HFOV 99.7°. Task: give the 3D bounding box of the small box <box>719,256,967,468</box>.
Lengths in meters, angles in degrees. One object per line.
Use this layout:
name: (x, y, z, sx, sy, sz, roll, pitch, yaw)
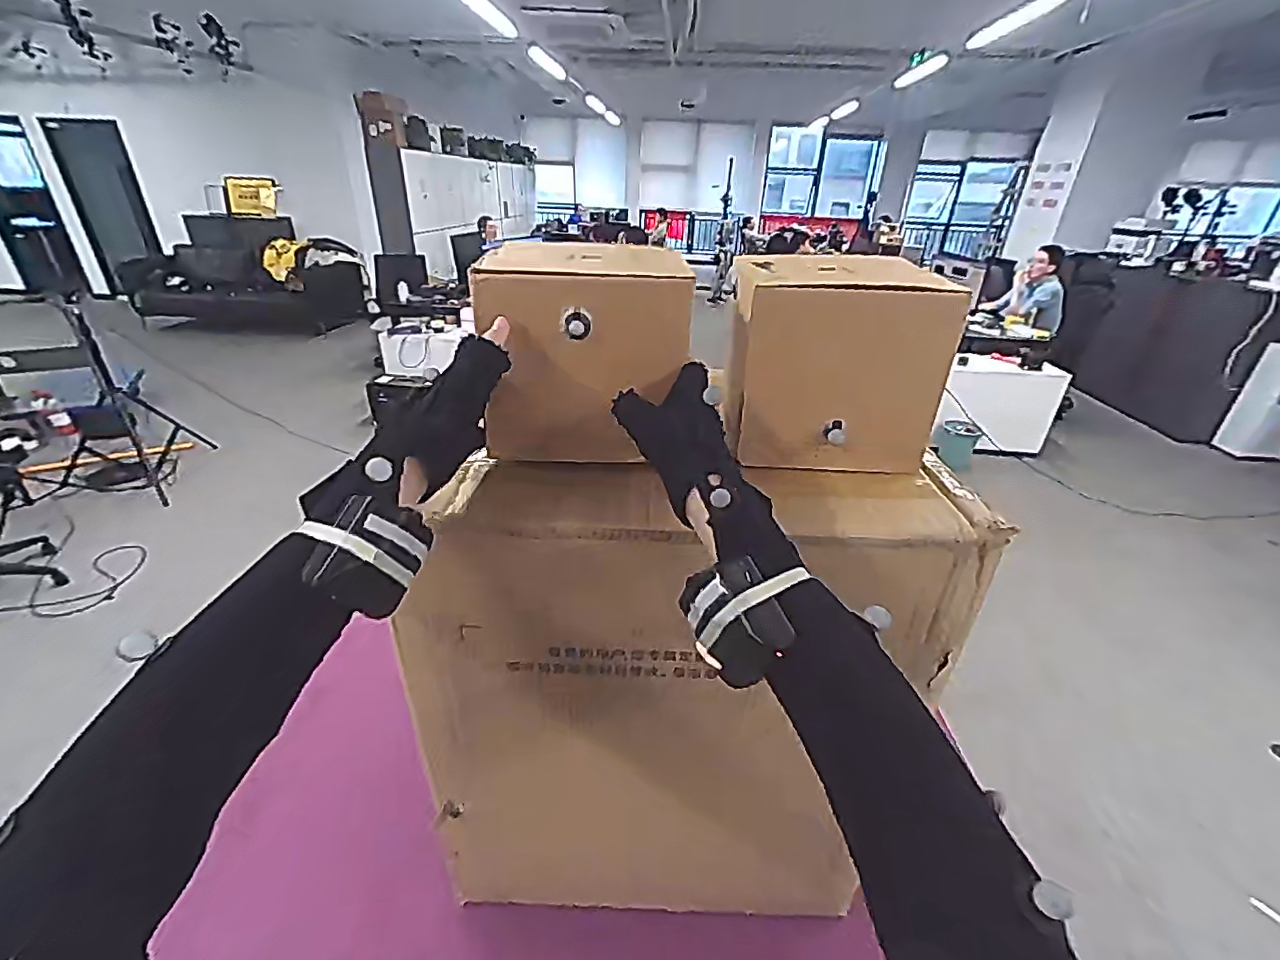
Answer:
small box: (0.180, -0.122, 0.543, 0.179, 0.176, 0.168, 3, 28, 2)
